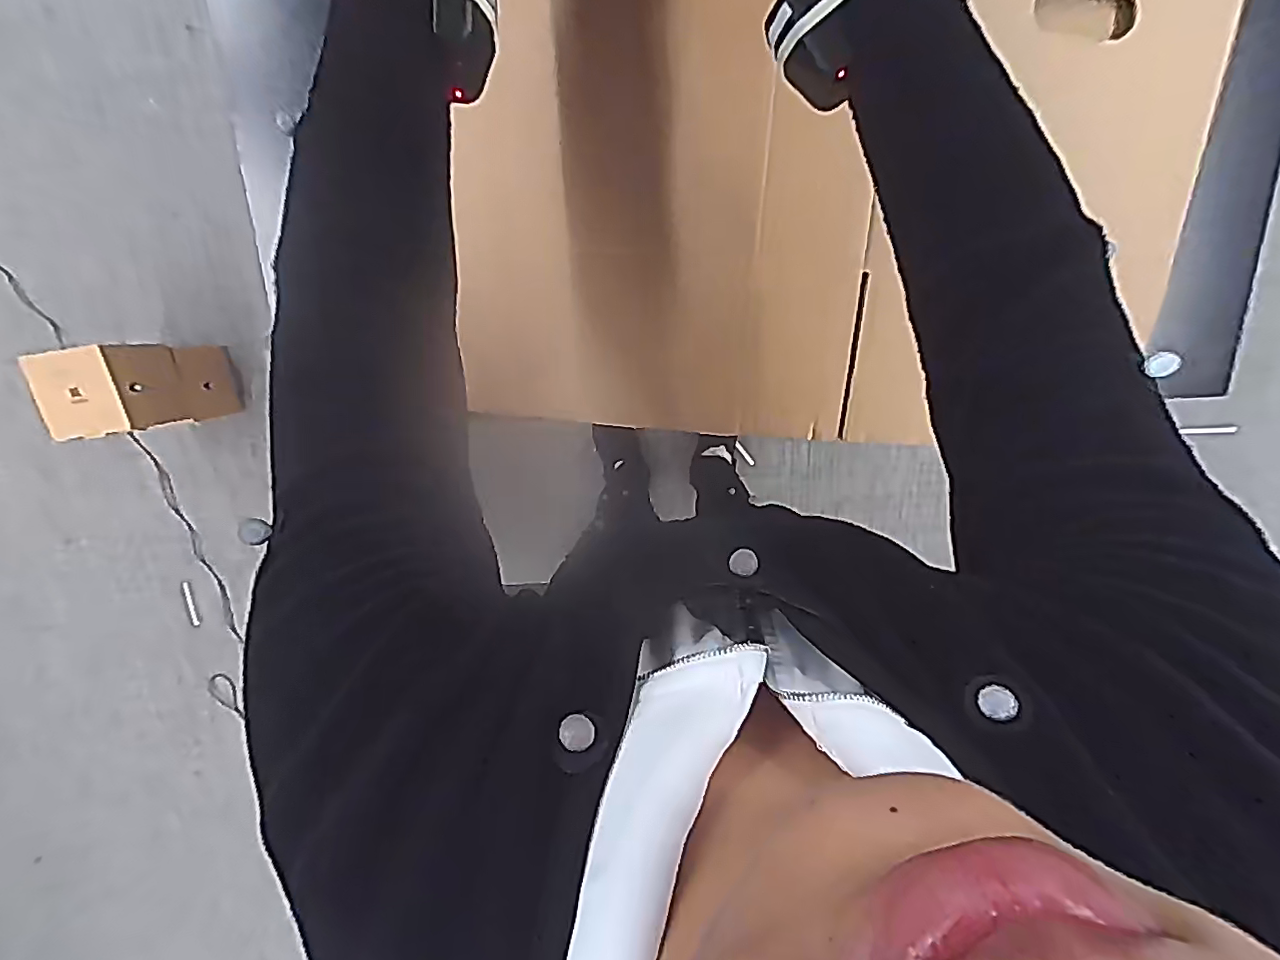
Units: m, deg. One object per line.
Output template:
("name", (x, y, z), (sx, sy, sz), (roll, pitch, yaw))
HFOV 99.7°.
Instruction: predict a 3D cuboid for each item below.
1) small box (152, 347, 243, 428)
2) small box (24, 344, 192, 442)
("small box", (-1.125, -0.229, 1.321), (0.168, 0.176, 0.179), (-6, 106, 1))
("small box", (-1.123, -0.192, 1.162), (0.168, 0.176, 0.179), (-9, 104, 1))
